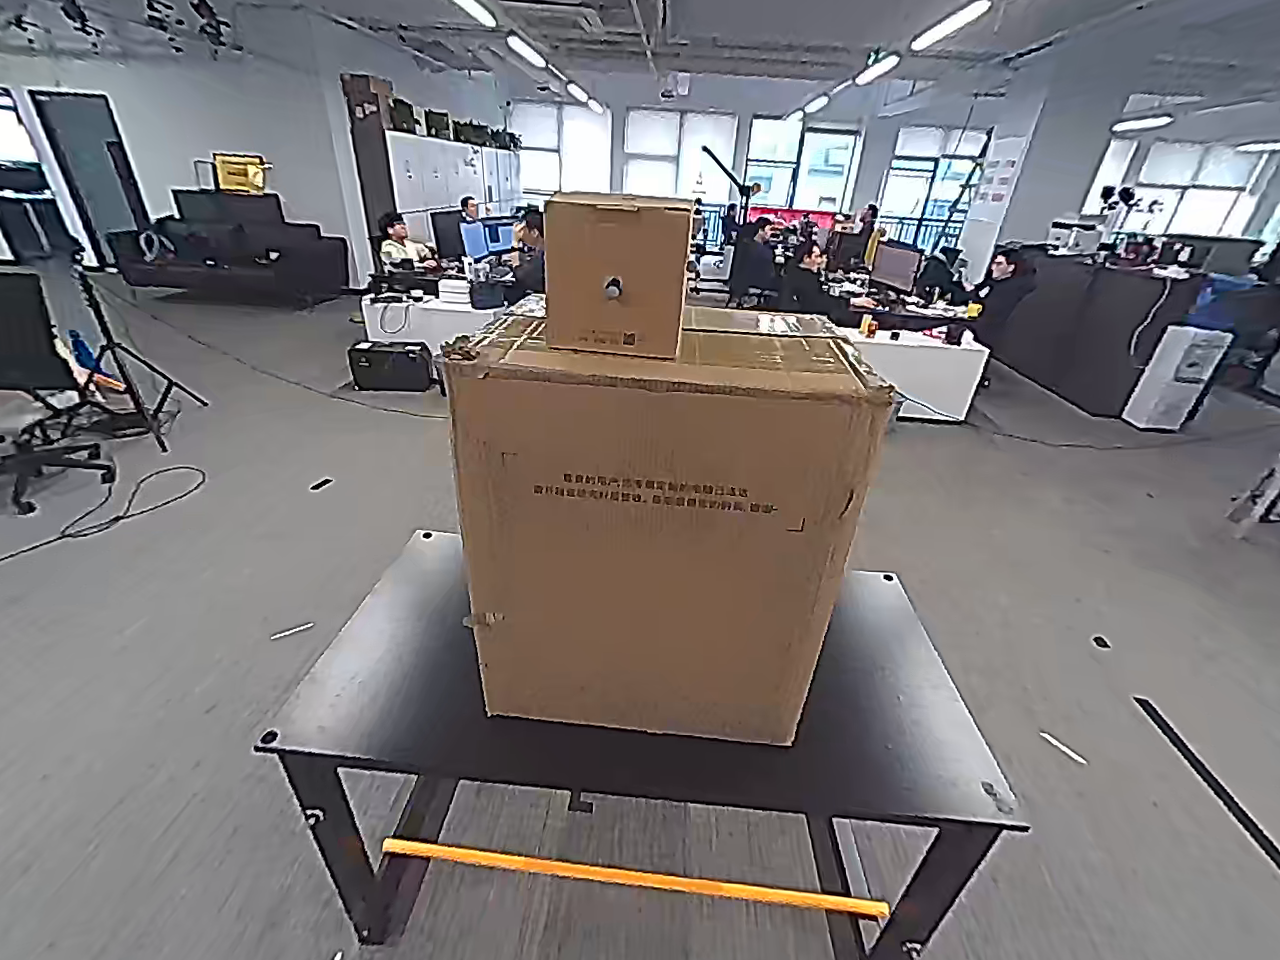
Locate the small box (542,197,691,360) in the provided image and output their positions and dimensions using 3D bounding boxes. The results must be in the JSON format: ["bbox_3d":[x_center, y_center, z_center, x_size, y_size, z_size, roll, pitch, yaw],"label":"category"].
[{"bbox_3d":[-0.023,-0.267,0.708,0.168,0.176,0.179,6,32,3],"label":"small box"}]
